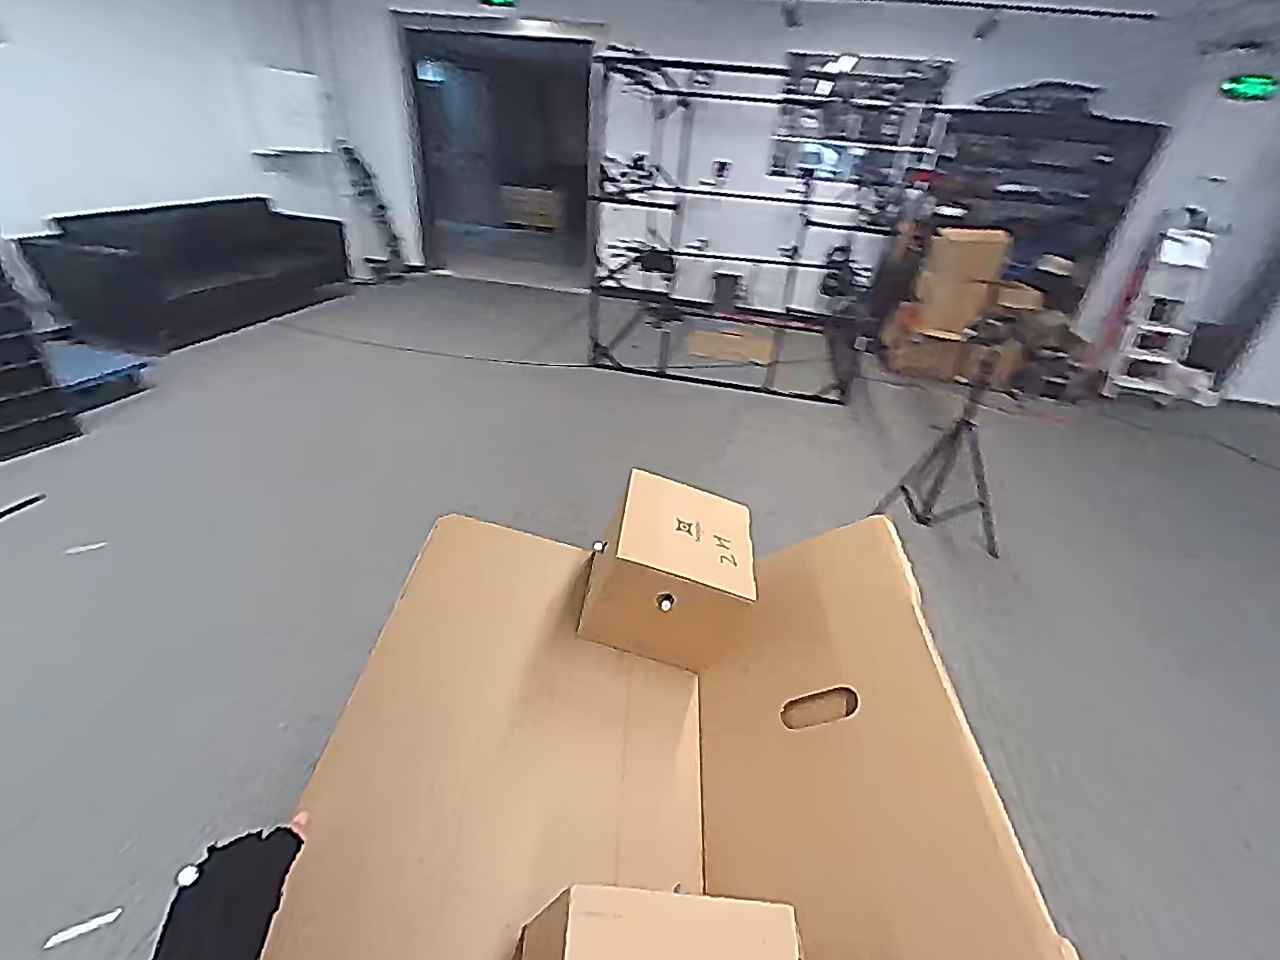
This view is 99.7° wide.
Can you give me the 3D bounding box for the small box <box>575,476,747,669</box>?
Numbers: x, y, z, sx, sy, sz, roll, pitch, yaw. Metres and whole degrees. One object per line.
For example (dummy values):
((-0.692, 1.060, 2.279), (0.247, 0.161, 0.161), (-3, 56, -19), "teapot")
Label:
((0.025, 0.128, 0.728), (0.179, 0.176, 0.168), (20, 38, -8), "small box")
